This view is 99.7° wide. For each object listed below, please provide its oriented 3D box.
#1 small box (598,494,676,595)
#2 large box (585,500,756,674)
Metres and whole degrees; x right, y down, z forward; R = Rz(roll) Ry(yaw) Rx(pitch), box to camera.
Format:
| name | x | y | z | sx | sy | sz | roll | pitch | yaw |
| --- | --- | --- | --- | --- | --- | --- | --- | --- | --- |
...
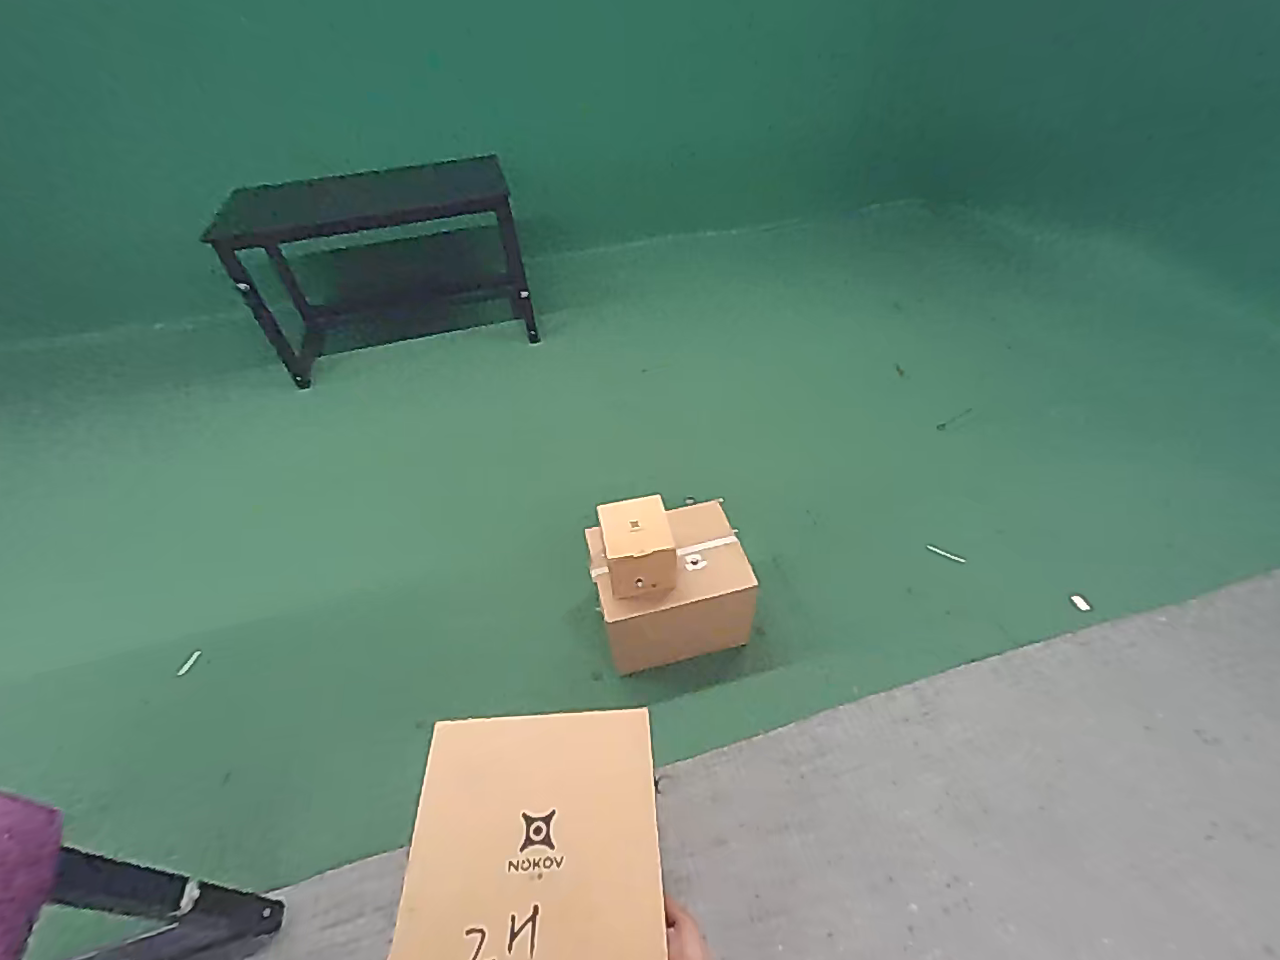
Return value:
| name | x | y | z | sx | sy | sz | roll | pitch | yaw |
| --- | --- | --- | --- | --- | --- | --- | --- | --- | --- |
| small box | -0.010 | 0.163 | 1.366 | 0.168 | 0.176 | 0.179 | -10 | 47 | -7 |
| large box | 0.077 | 0.307 | 1.559 | 0.408 | 0.320 | 0.320 | -12 | 47 | -8 |
